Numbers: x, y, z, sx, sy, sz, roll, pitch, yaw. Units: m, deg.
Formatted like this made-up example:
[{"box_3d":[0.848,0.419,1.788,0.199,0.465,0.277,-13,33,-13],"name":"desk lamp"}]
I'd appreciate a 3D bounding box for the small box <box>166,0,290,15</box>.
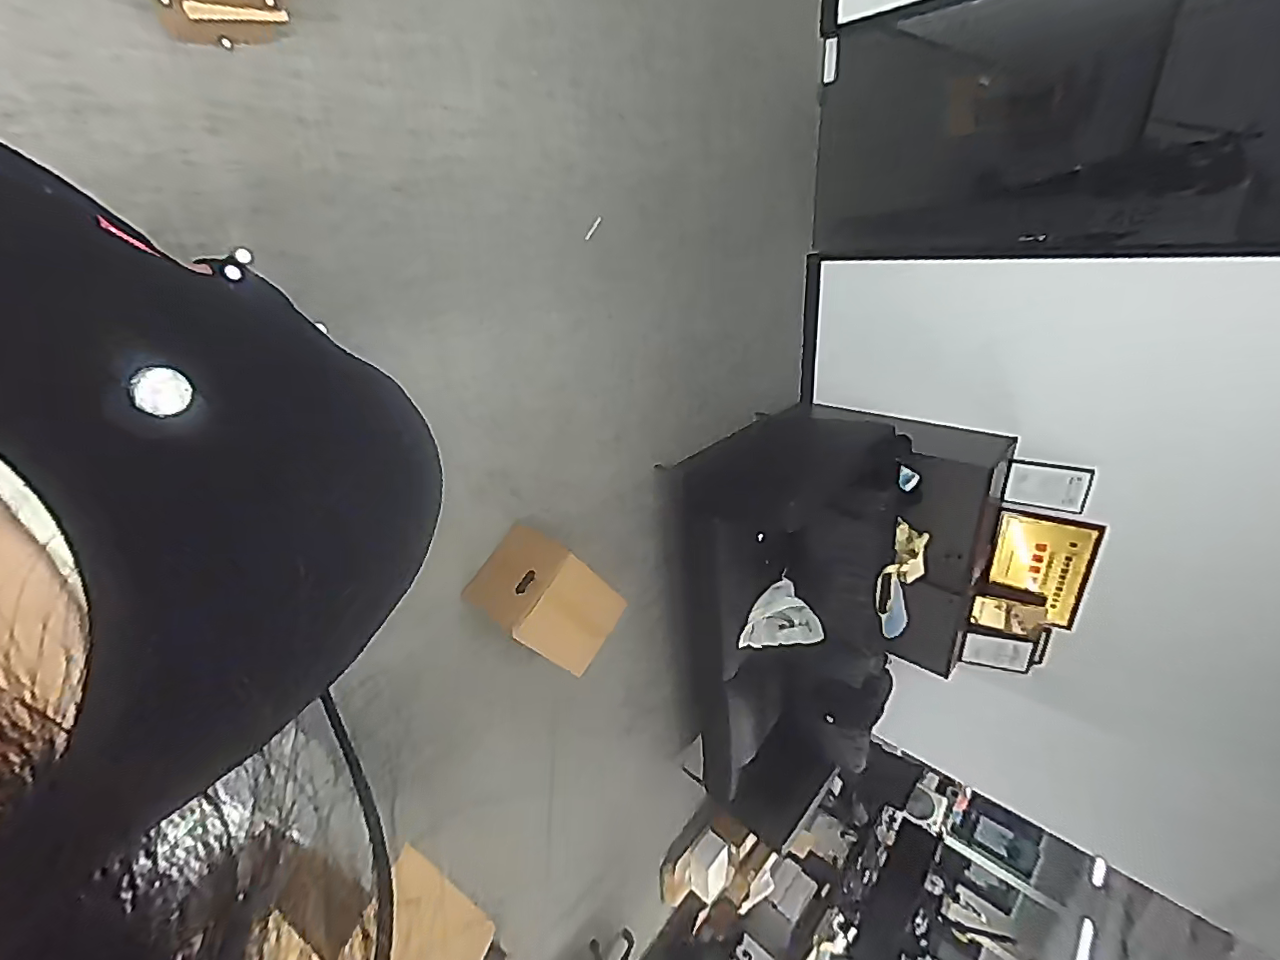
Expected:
[{"box_3d":[-0.684,-0.877,0.864,0.179,0.176,0.168,-29,125,-37],"name":"small box"}]
